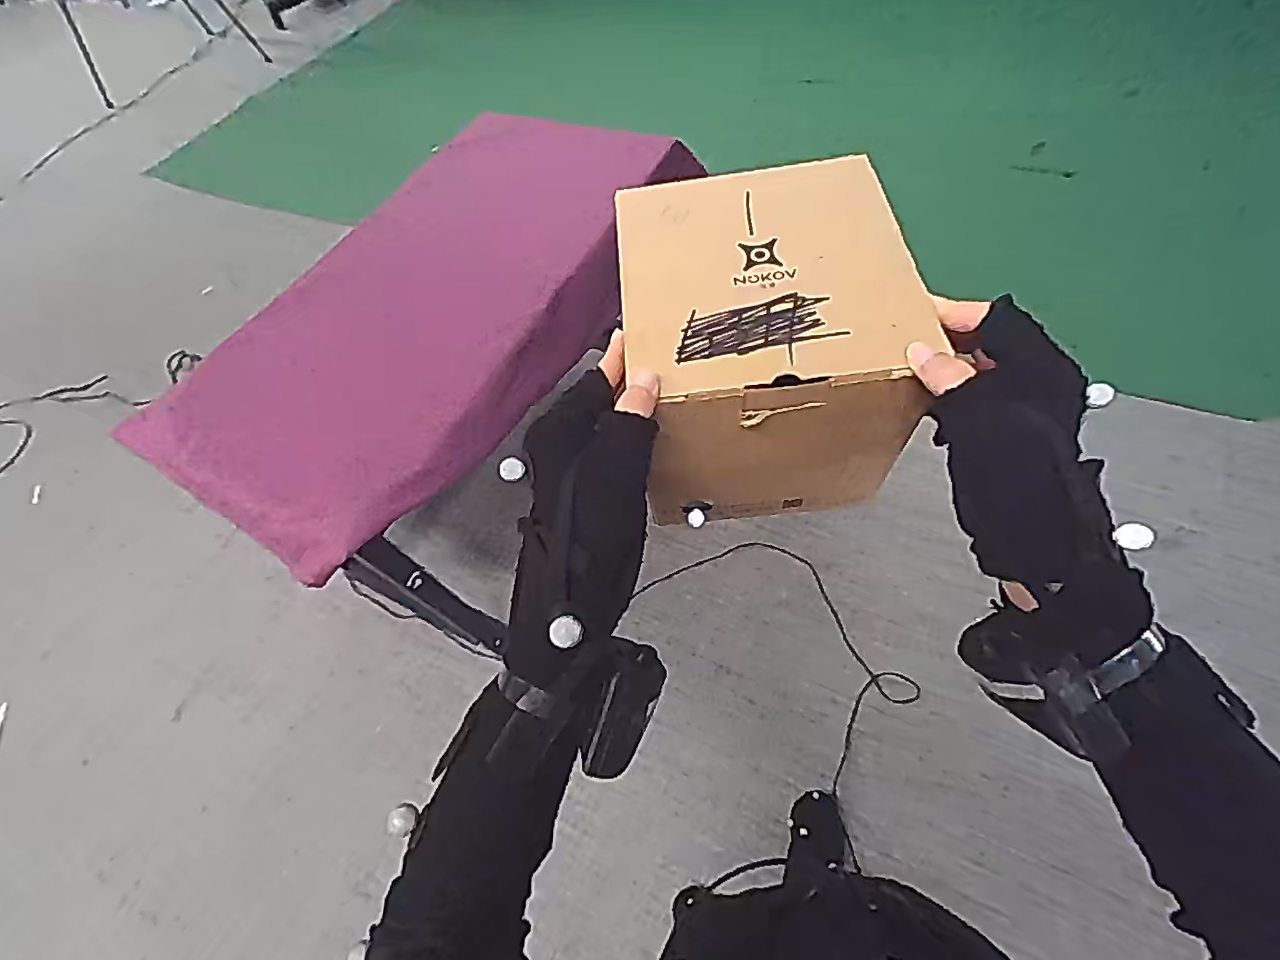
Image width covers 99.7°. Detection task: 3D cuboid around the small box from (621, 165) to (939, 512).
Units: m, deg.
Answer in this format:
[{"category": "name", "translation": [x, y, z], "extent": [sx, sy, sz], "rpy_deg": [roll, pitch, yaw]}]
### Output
[{"category": "small box", "translation": [0.081, -0.086, 0.393], "extent": [0.168, 0.176, 0.179], "rpy_deg": [-6, 61, 5]}]
